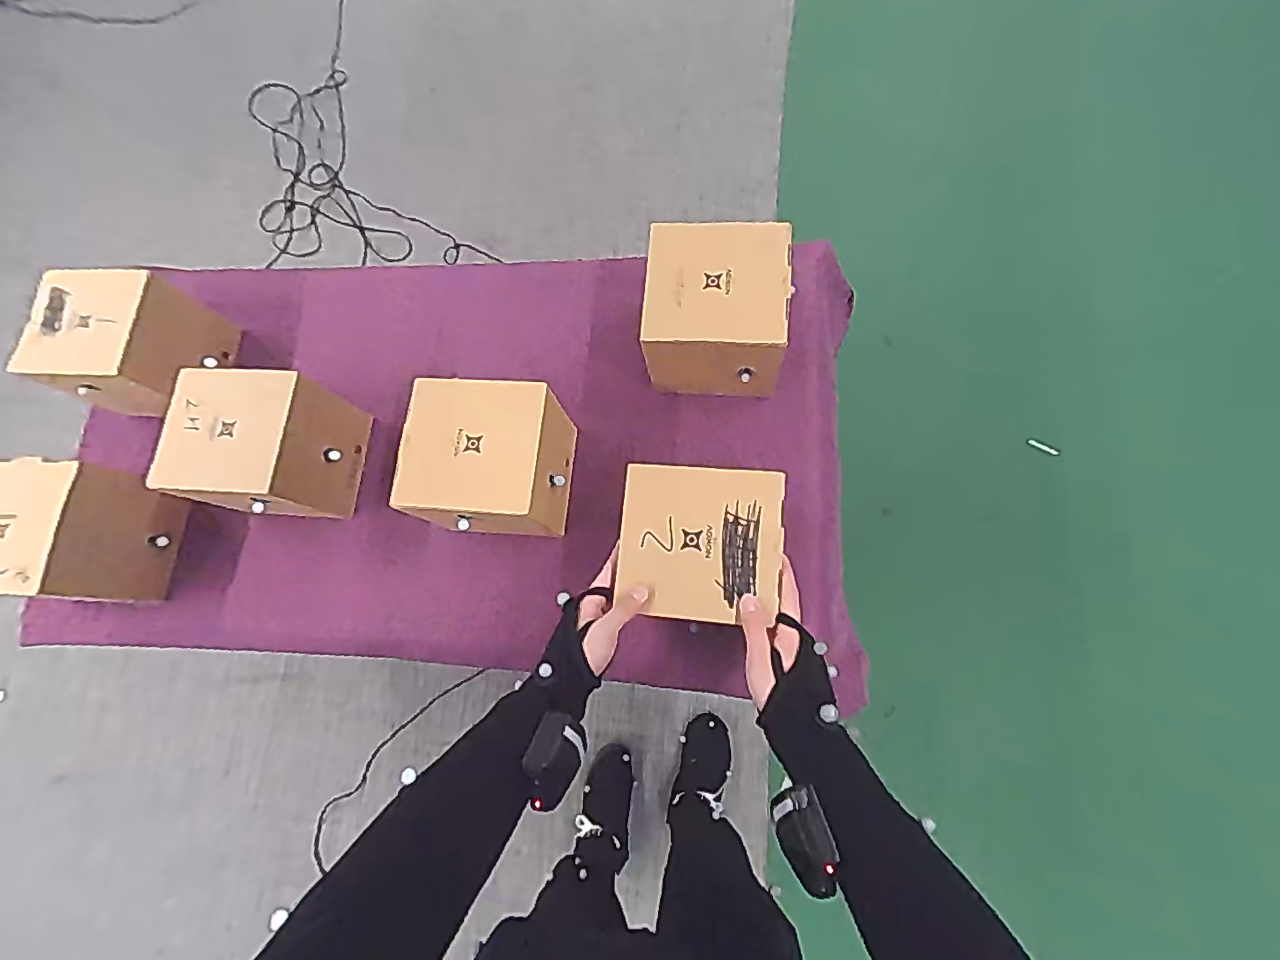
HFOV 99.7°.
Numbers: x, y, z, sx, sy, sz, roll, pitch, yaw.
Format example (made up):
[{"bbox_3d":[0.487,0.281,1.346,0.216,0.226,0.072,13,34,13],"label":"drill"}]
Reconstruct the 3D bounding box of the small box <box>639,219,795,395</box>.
[{"bbox_3d":[0.103,-0.221,0.724,0.179,0.176,0.168,4,78,9],"label":"small box"}]

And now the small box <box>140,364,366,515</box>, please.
[{"bbox_3d":[-0.520,-0.048,0.756,0.179,0.176,0.168,3,76,8],"label":"small box"}]

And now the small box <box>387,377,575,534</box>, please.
[{"bbox_3d":[-0.193,-0.024,0.714,0.179,0.176,0.168,3,77,9],"label":"small box"}]

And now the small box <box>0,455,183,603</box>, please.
[{"bbox_3d":[-0.799,0.074,0.756,0.168,0.176,0.179,1,74,7],"label":"small box"}]

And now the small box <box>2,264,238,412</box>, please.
[{"bbox_3d":[-0.775,-0.207,0.826,0.179,0.176,0.168,3,77,7],"label":"small box"}]
